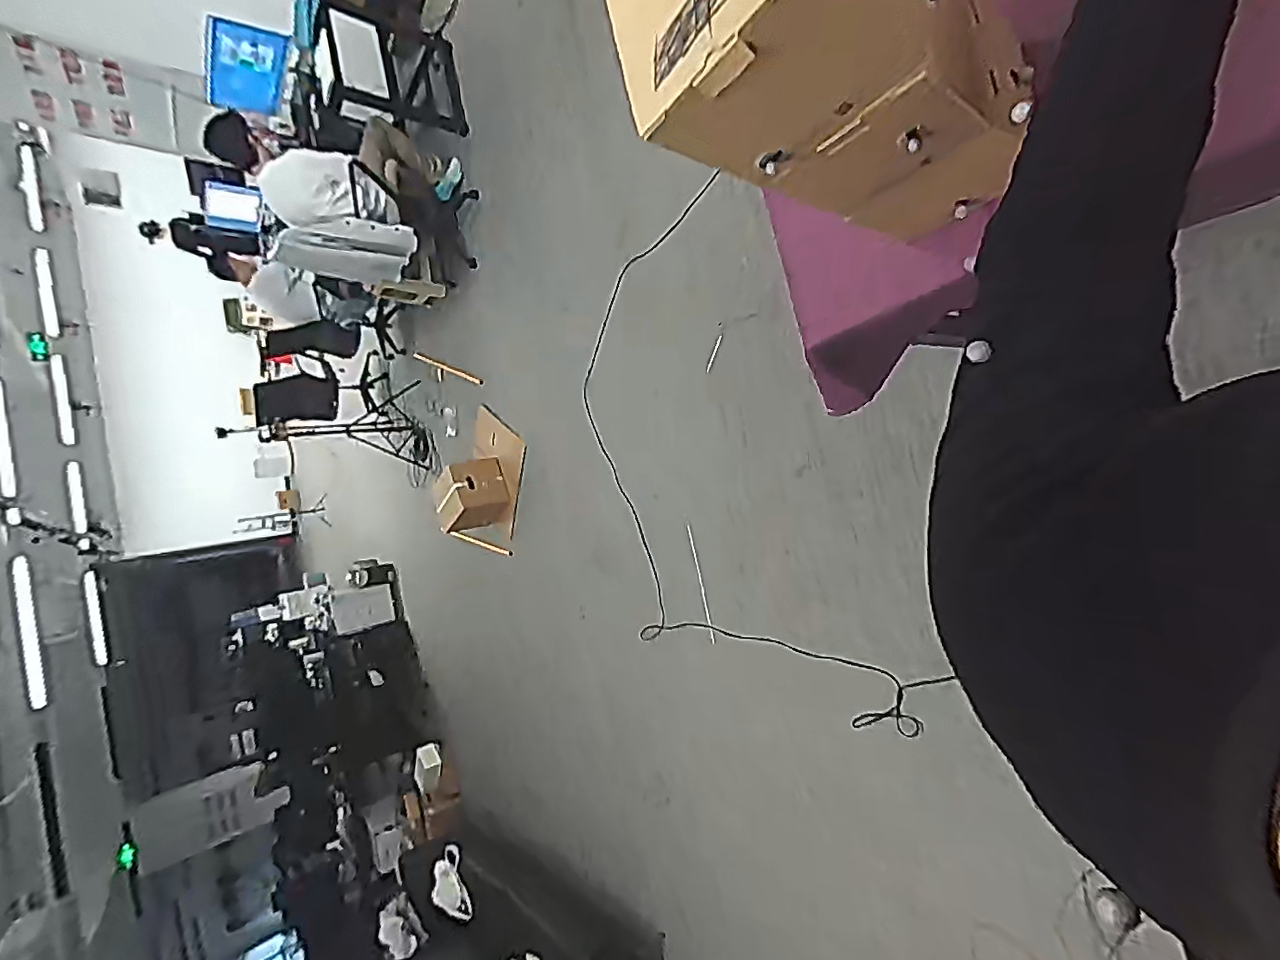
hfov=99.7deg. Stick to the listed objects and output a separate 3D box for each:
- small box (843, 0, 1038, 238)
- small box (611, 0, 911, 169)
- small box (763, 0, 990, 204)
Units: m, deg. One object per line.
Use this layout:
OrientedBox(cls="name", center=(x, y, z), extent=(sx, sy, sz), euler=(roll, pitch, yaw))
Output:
OrientedBox(cls="small box", center=(0.353, -0.422, 0.655), extent=(0.179, 0.176, 0.168), euler=(-16, 84, 50))
OrientedBox(cls="small box", center=(0.097, -0.394, 0.452), extent=(0.168, 0.176, 0.179), euler=(-18, 82, 49))
OrientedBox(cls="small box", center=(0.228, -0.409, 0.551), extent=(0.168, 0.176, 0.179), euler=(-13, 86, 50))
